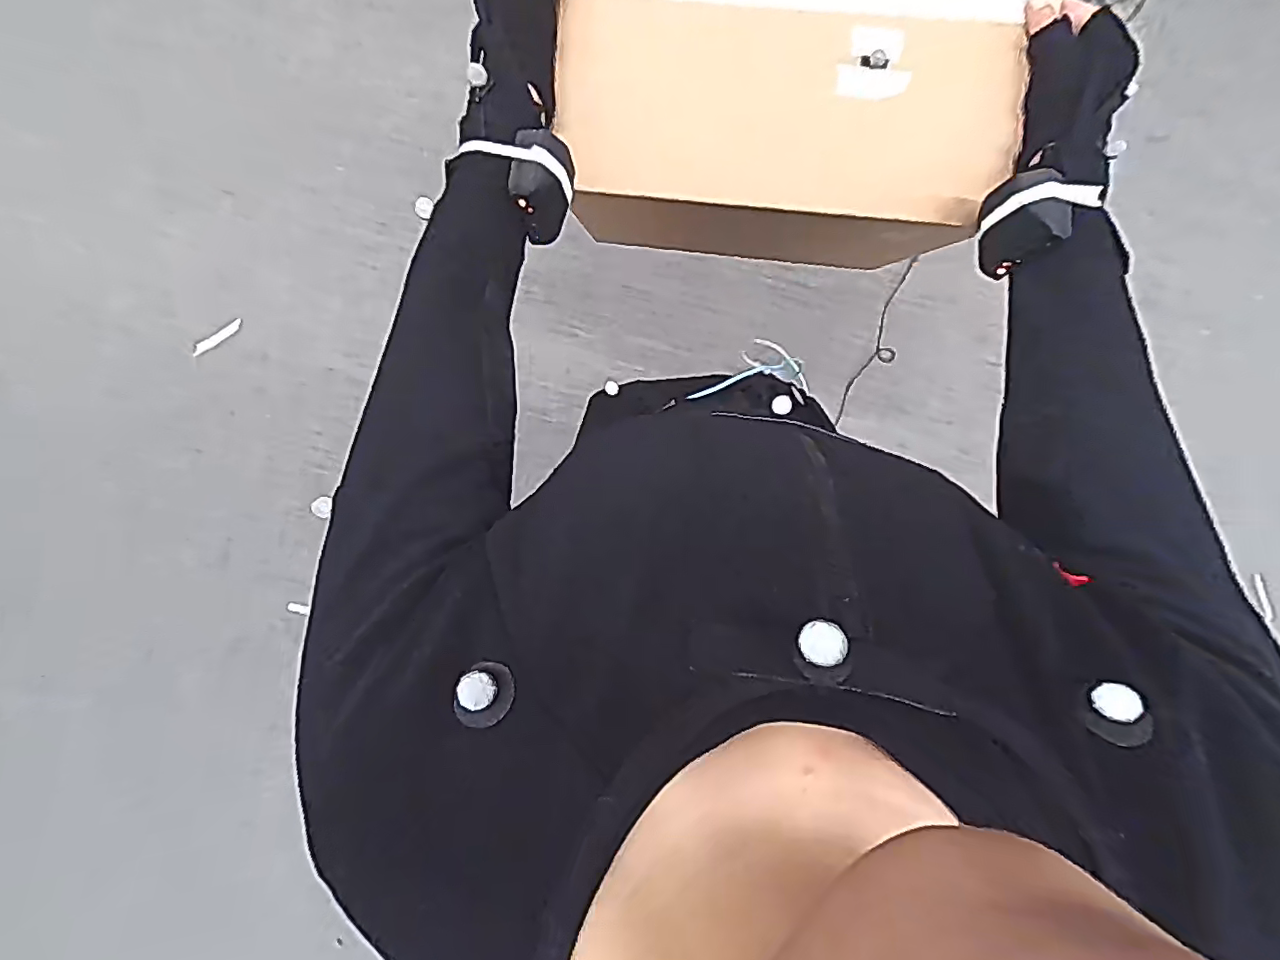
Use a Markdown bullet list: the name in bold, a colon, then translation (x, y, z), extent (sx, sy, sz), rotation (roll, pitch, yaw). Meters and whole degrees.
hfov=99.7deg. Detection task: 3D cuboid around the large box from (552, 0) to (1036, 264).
- **large box**: translation (0.131, -0.432, 0.596), extent (0.408, 0.320, 0.320), rotation (5, 106, 1)
